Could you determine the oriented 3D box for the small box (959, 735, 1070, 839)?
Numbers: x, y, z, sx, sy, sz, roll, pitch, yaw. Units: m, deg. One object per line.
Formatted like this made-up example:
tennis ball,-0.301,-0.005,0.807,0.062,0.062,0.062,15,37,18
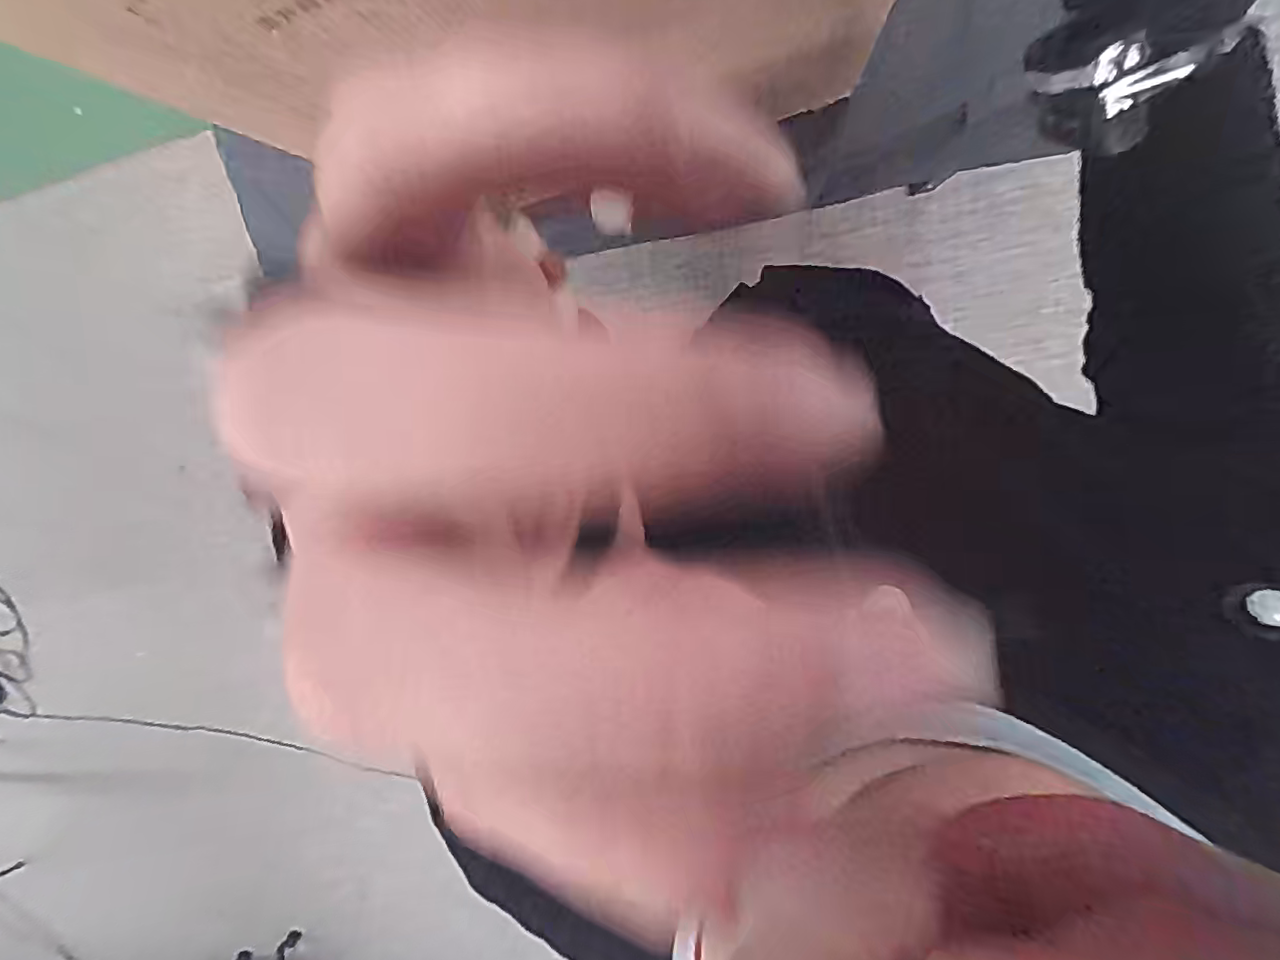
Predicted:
small box,1.096,0.899,1.600,0.179,0.176,0.168,32,108,1
